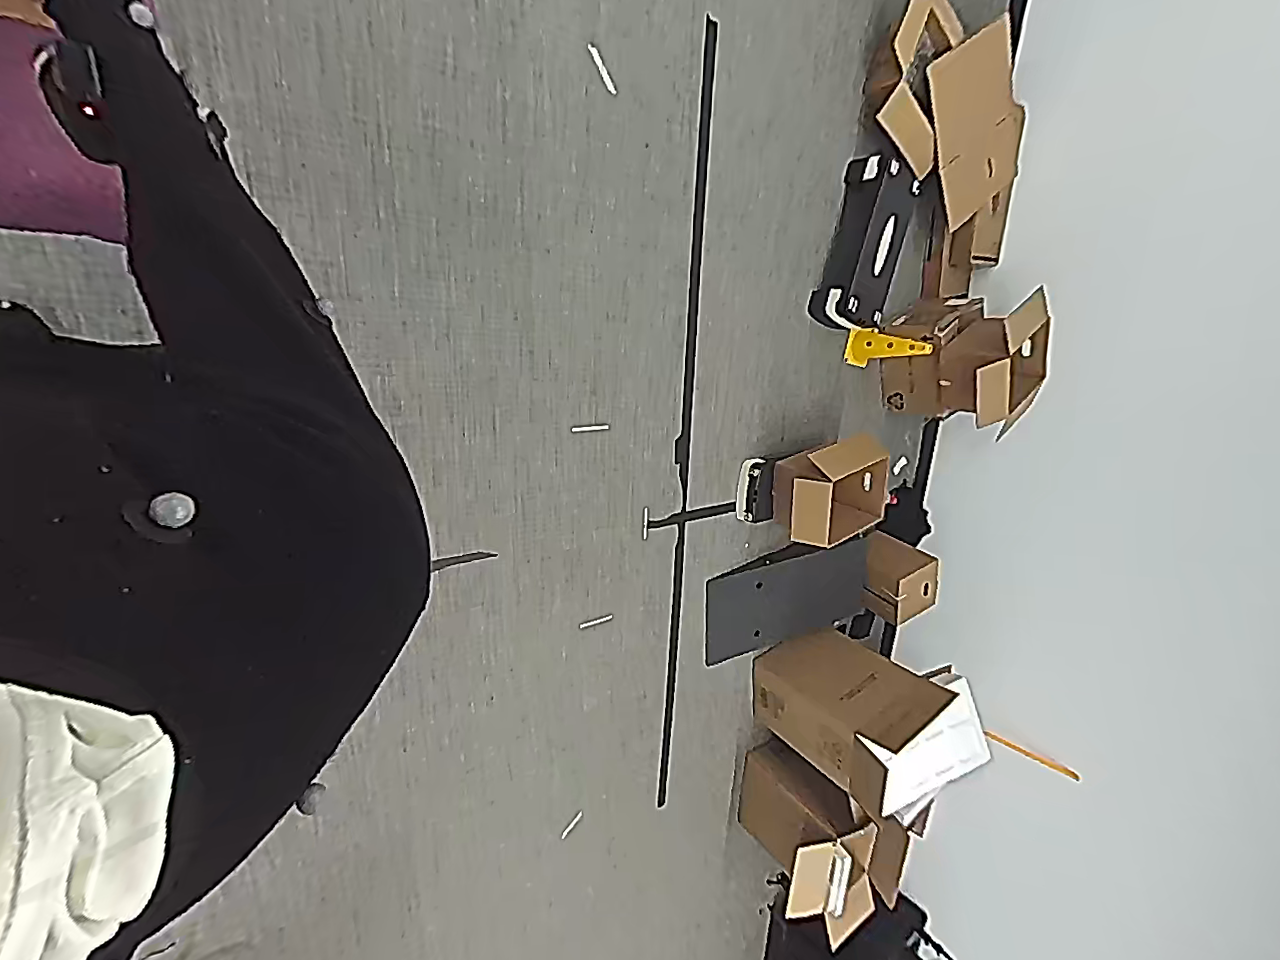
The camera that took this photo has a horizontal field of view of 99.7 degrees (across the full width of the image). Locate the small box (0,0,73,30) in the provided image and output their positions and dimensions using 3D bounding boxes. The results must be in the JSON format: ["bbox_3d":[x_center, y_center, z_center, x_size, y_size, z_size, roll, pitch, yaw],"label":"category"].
[{"bbox_3d":[-0.614,-0.509,0.433,0.179,0.176,0.168,-7,109,-33],"label":"small box"}]
